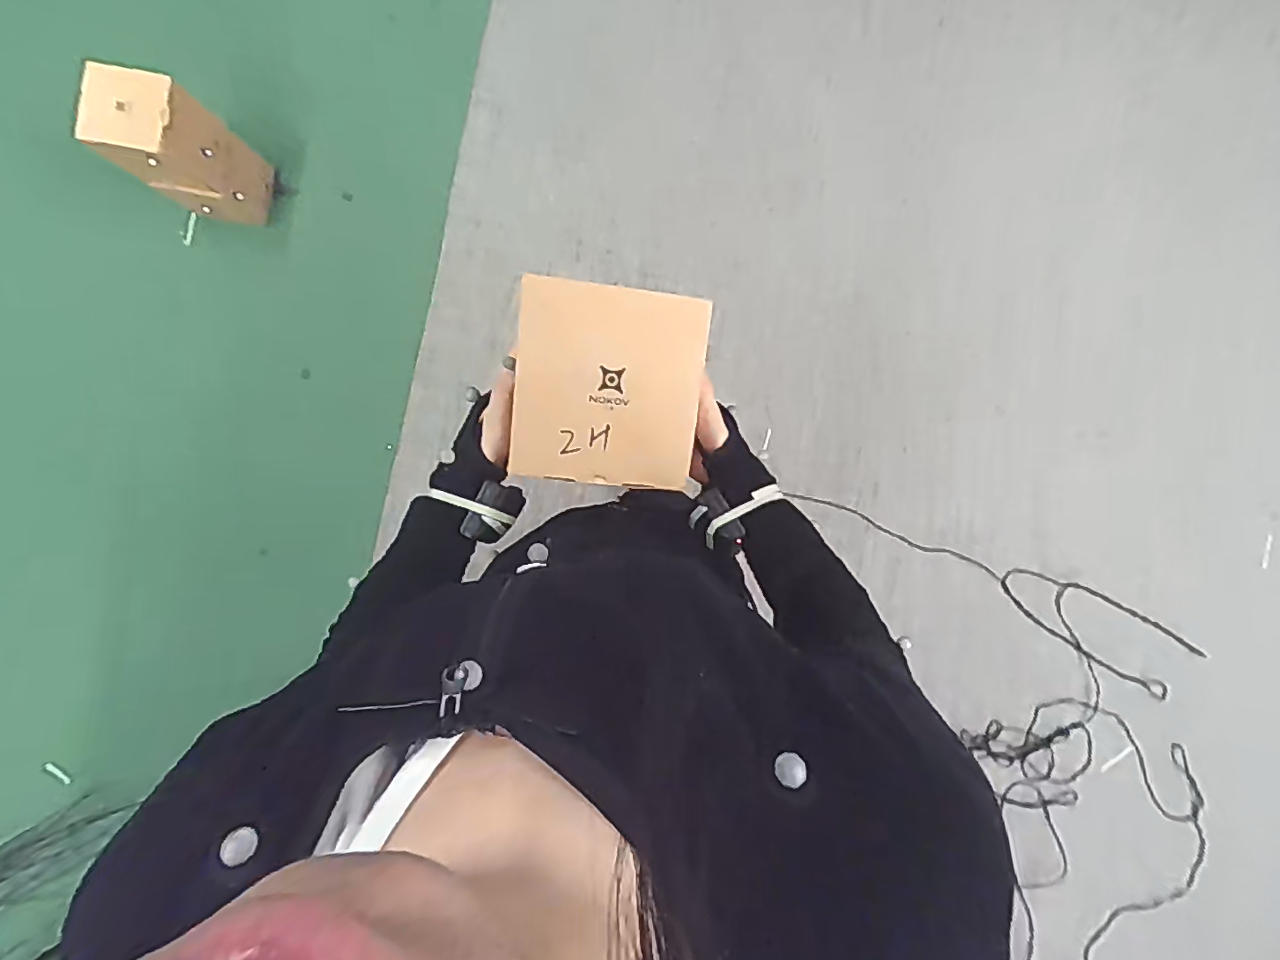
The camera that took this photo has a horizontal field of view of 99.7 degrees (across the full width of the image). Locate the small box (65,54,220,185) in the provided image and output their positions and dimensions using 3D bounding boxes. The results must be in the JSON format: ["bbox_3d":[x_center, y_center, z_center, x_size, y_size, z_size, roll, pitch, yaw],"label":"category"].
[{"bbox_3d":[-1.083,-0.780,1.189,0.179,0.176,0.168,8,90,-3],"label":"small box"}]

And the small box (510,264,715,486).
[{"bbox_3d":[-0.035,-0.103,0.549,0.168,0.176,0.179,6,103,-9],"label":"small box"}]
